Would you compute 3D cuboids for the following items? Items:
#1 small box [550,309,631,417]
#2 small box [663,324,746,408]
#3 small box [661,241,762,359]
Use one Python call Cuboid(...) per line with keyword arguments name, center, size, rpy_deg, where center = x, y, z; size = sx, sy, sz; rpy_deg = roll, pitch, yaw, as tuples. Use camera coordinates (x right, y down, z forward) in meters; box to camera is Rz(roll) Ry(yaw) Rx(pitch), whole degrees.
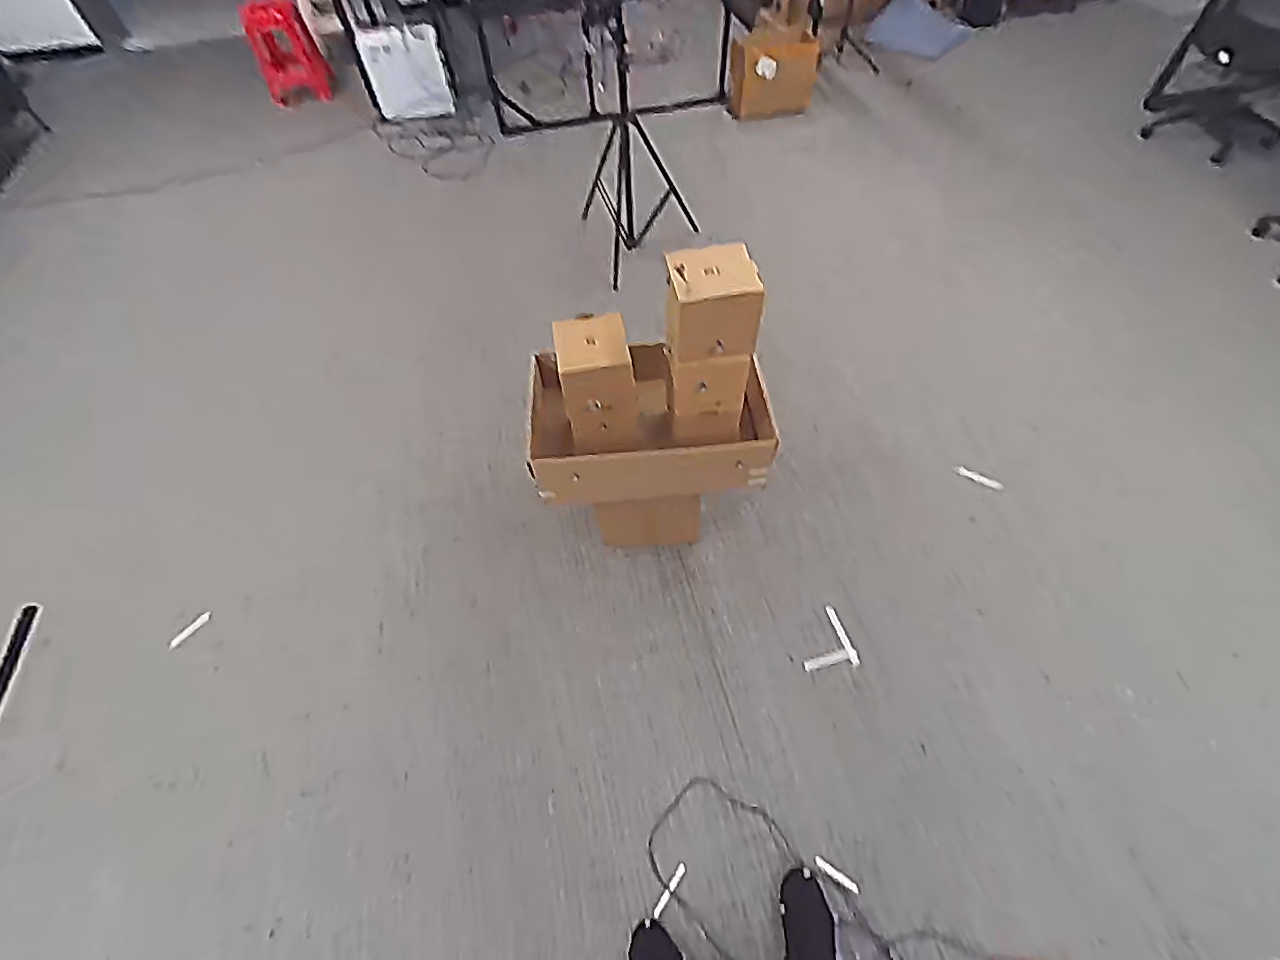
Cuboid(name="small box", center=(-0.117, -0.278, 1.294), size=(0.168, 0.176, 0.179), rpy_deg=(-10, 56, -4))
Cuboid(name="small box", center=(0.149, -0.287, 1.289), size=(0.168, 0.176, 0.179), rpy_deg=(-7, 55, -2))
Cuboid(name="small box", center=(0.144, -0.381, 1.155), size=(0.179, 0.176, 0.168), rpy_deg=(-8, 55, -3))
